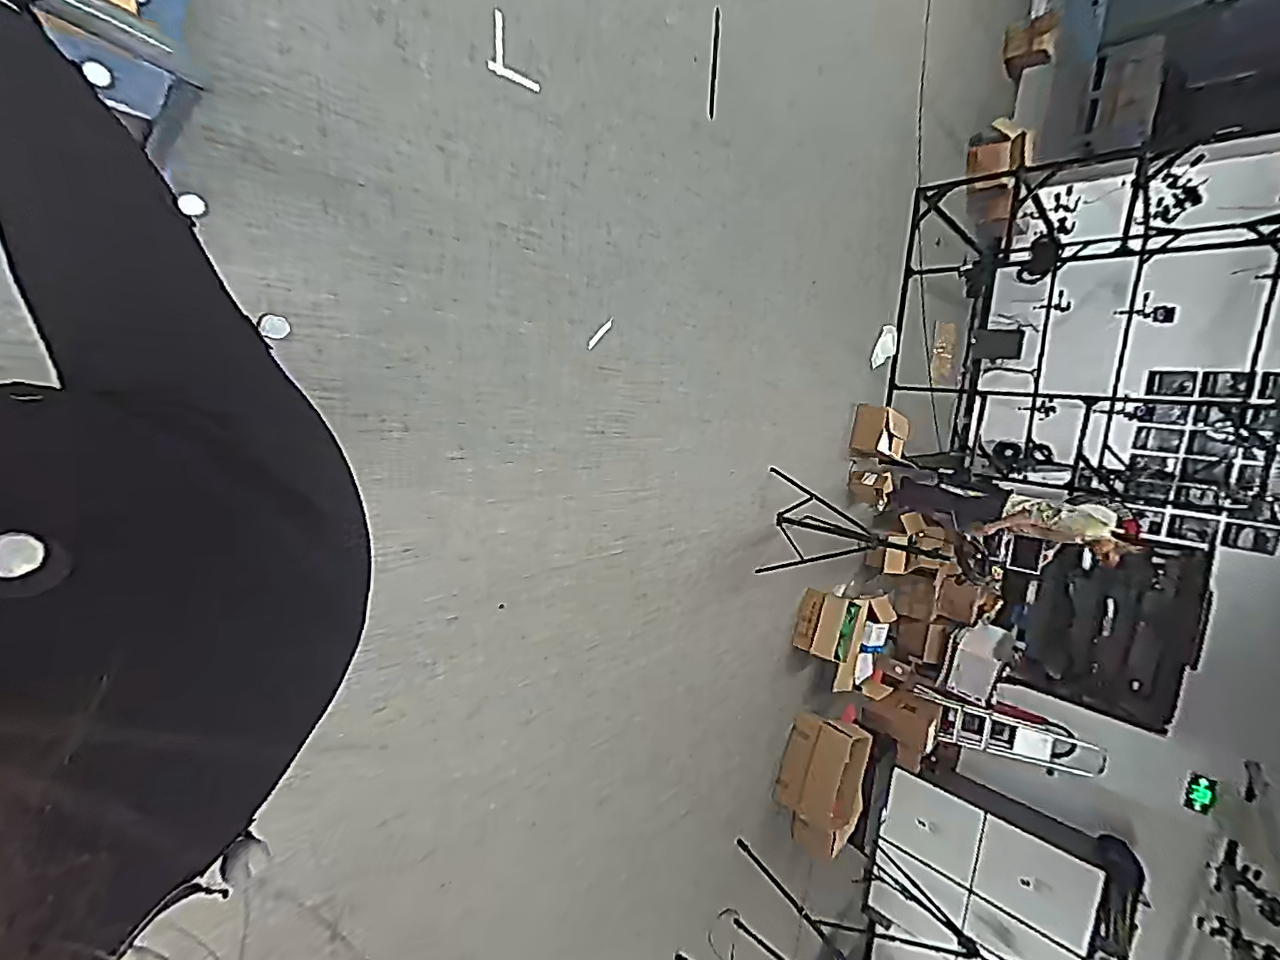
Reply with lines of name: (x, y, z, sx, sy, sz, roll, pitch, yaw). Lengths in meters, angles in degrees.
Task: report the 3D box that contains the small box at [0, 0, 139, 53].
small box: (-0.839, -0.763, 0.771, 0.179, 0.176, 0.168, -1, 100, -47)
